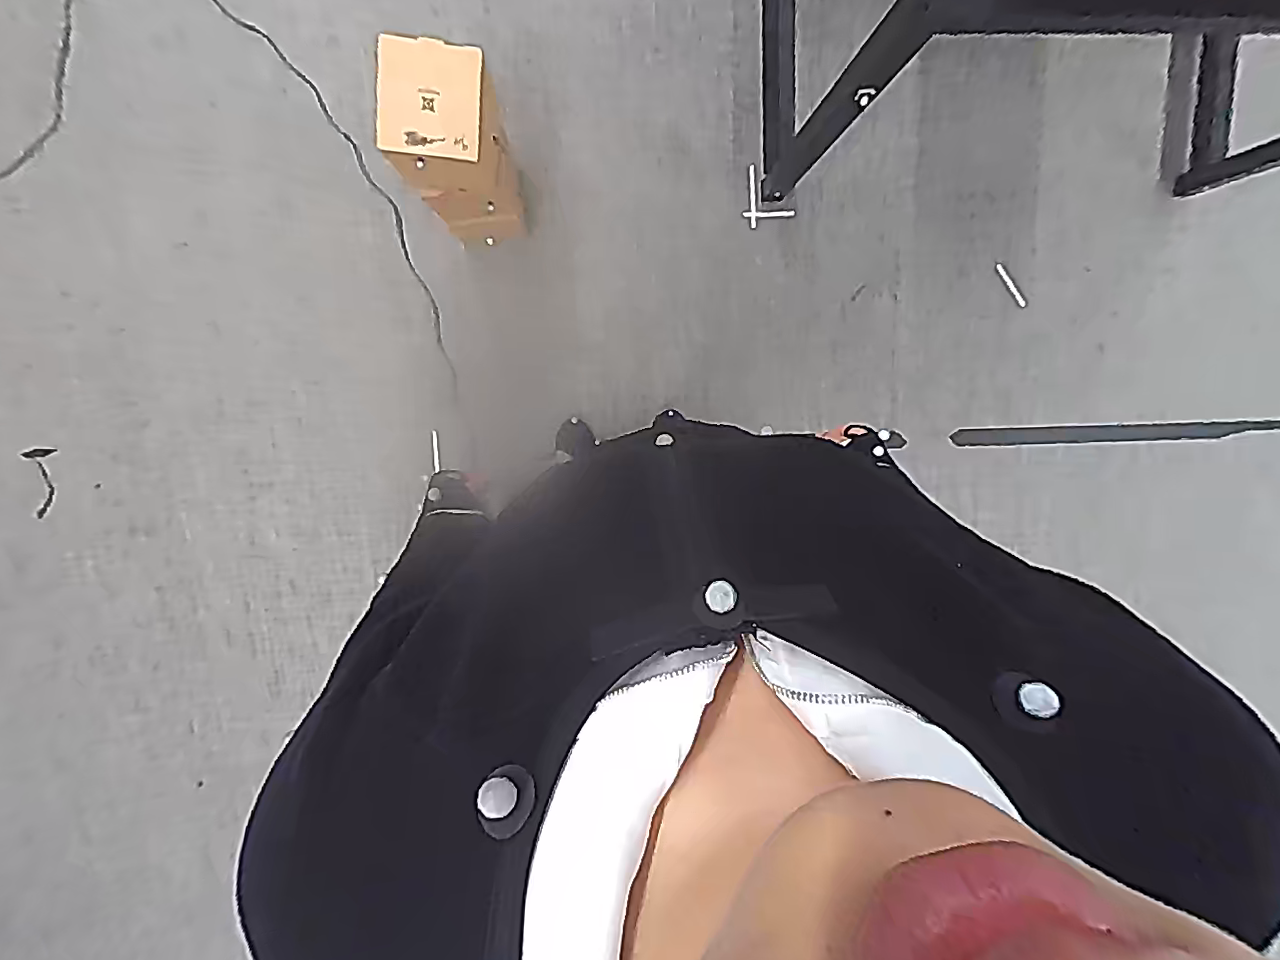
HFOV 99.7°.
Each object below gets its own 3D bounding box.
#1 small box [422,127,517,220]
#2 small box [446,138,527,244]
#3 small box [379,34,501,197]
[{"bbox_3d":[-0.363,-0.663,1.129,0.168,0.176,0.179,-10,98,-3],"label":"small box"},{"bbox_3d":[-0.370,-0.682,1.290,0.168,0.176,0.179,-6,100,-2],"label":"small box"},{"bbox_3d":[-0.349,-0.638,0.967,0.168,0.176,0.179,4,97,-5],"label":"small box"}]
